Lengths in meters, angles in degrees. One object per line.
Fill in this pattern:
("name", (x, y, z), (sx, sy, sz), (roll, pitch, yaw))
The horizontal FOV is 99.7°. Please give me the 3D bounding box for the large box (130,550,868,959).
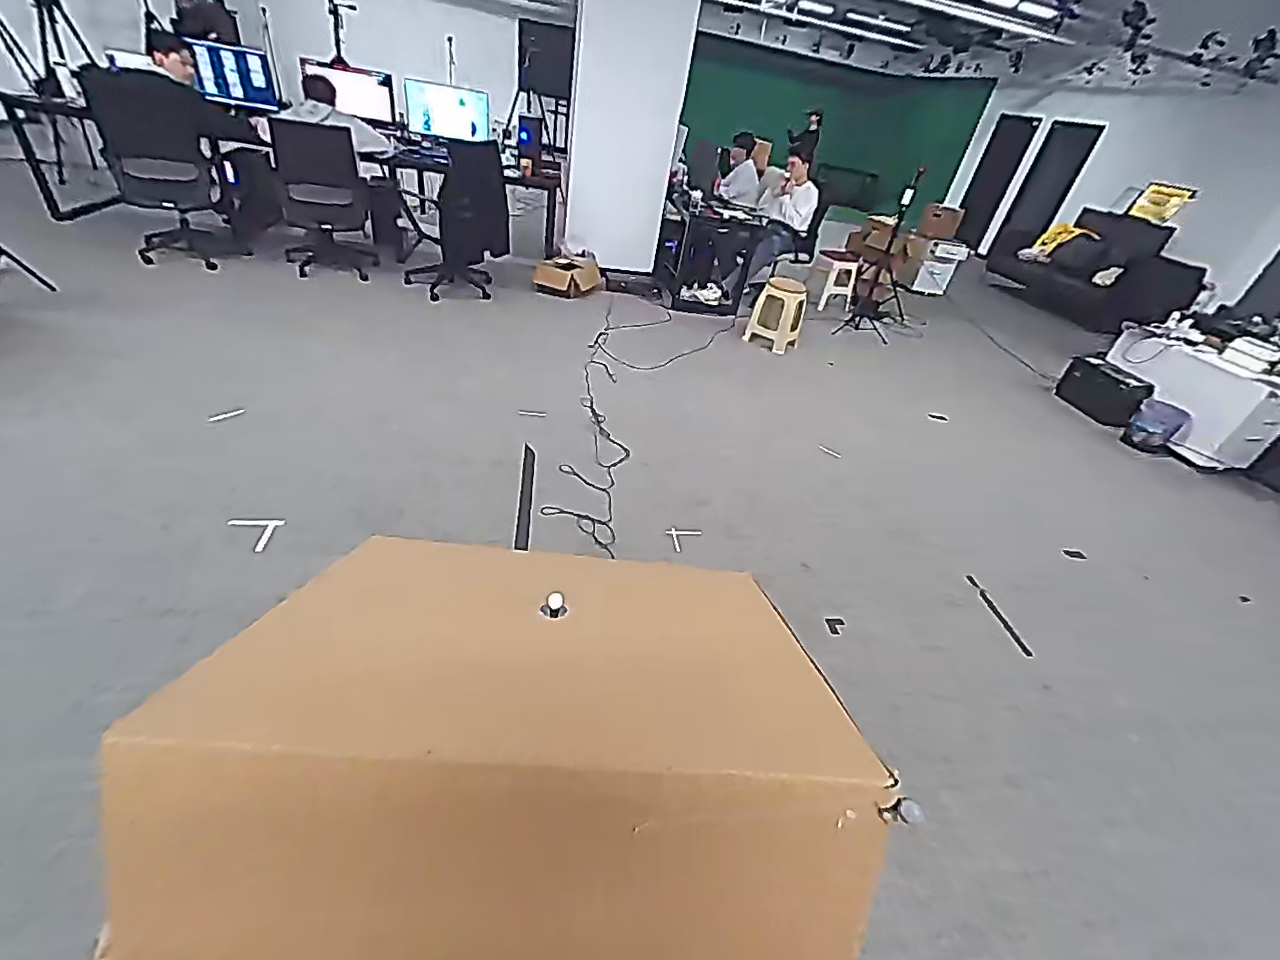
("large box", (-0.091, 0.263, 0.466), (0.408, 0.320, 0.320), (6, 13, -5))
